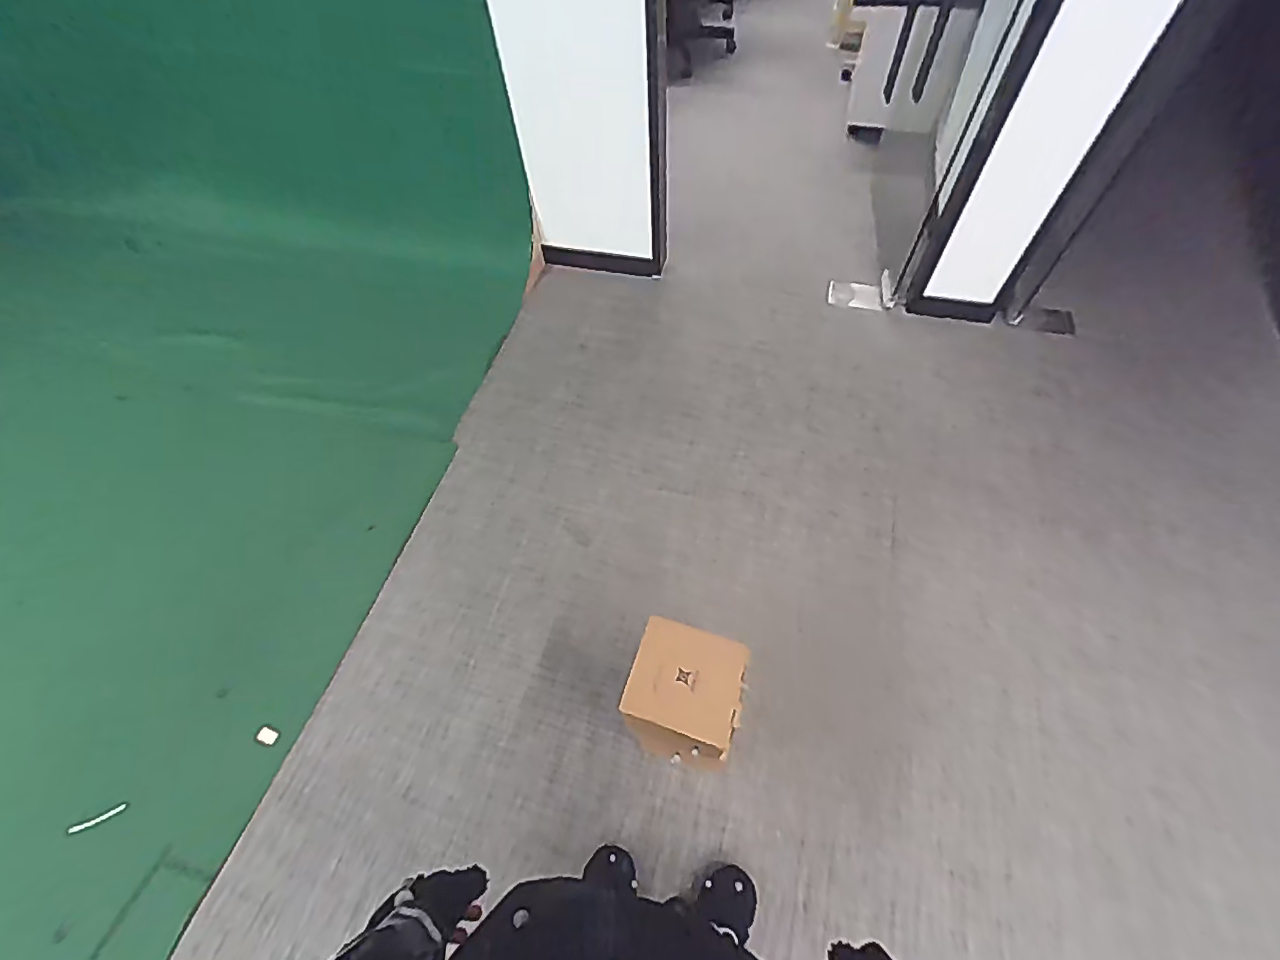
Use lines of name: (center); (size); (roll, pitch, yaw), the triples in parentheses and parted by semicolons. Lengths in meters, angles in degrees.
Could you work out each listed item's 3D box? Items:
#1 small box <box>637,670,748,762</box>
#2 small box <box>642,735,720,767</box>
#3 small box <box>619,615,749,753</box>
small box: (0.102, 0.445, 1.075); (0.179, 0.176, 0.168); (15, 61, 13)
small box: (0.112, 0.526, 1.214); (0.179, 0.176, 0.168); (17, 59, 14)
small box: (0.080, 0.359, 0.938); (0.179, 0.176, 0.168); (13, 59, 14)
